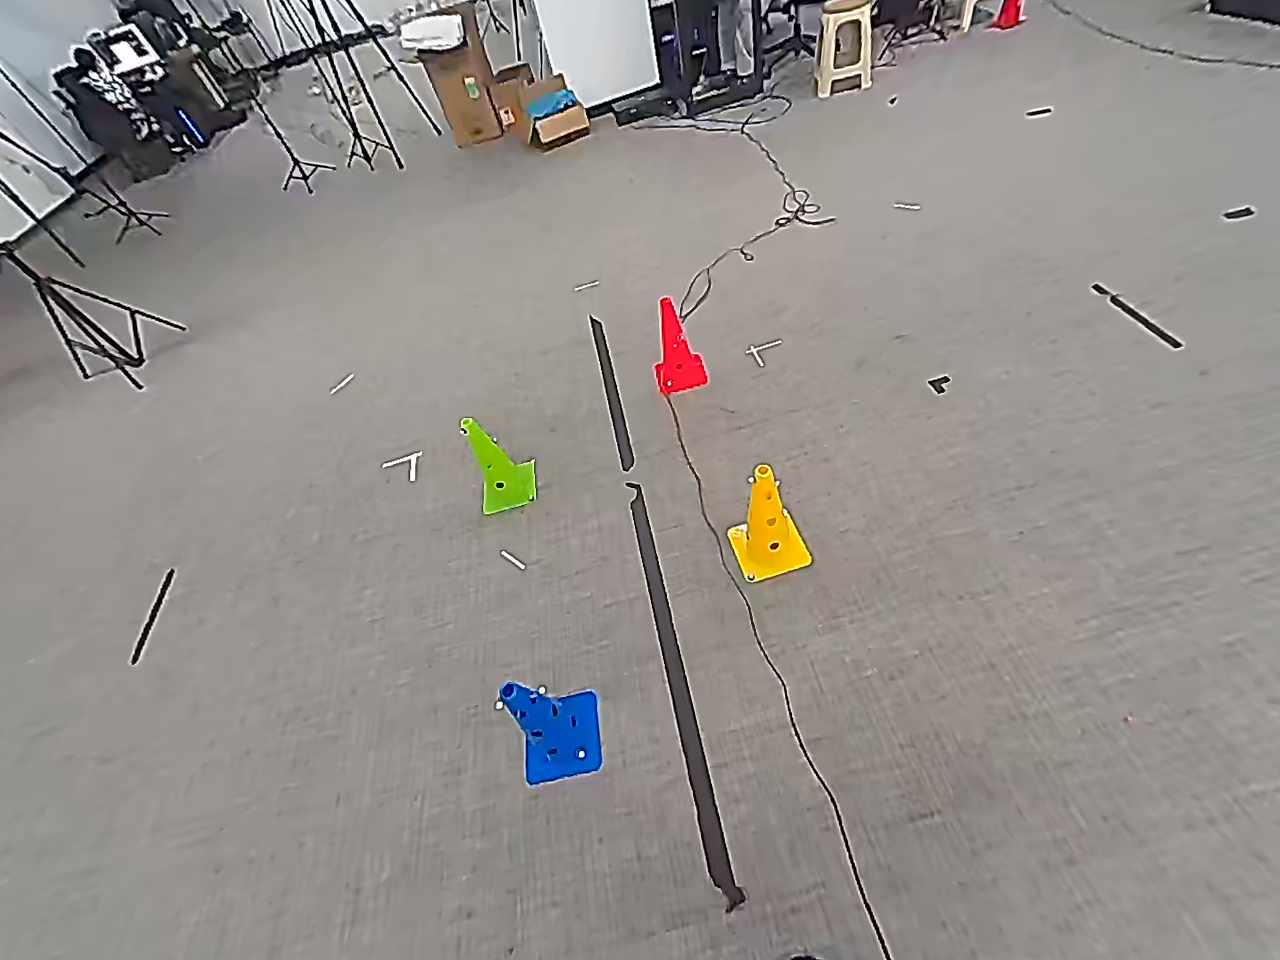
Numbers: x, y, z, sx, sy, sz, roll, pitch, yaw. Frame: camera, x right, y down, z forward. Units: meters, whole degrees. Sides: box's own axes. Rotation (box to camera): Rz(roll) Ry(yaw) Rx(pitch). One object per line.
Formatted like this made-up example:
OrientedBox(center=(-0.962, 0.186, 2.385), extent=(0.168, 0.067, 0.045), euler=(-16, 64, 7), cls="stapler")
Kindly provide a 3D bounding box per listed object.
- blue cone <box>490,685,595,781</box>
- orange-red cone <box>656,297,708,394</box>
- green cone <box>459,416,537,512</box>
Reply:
OrientedBox(center=(-0.248, 0.562, 1.279), extent=(0.192, 0.380, 0.193), euler=(-14, 49, 6), cls="blue cone")
OrientedBox(center=(0.134, -0.534, 2.061), extent=(0.199, 0.360, 0.198), euler=(-12, 51, 5), cls="orange-red cone")
OrientedBox(center=(-0.520, -0.086, 1.872), extent=(0.202, 0.368, 0.200), euler=(-17, 49, 4), cls="green cone")
